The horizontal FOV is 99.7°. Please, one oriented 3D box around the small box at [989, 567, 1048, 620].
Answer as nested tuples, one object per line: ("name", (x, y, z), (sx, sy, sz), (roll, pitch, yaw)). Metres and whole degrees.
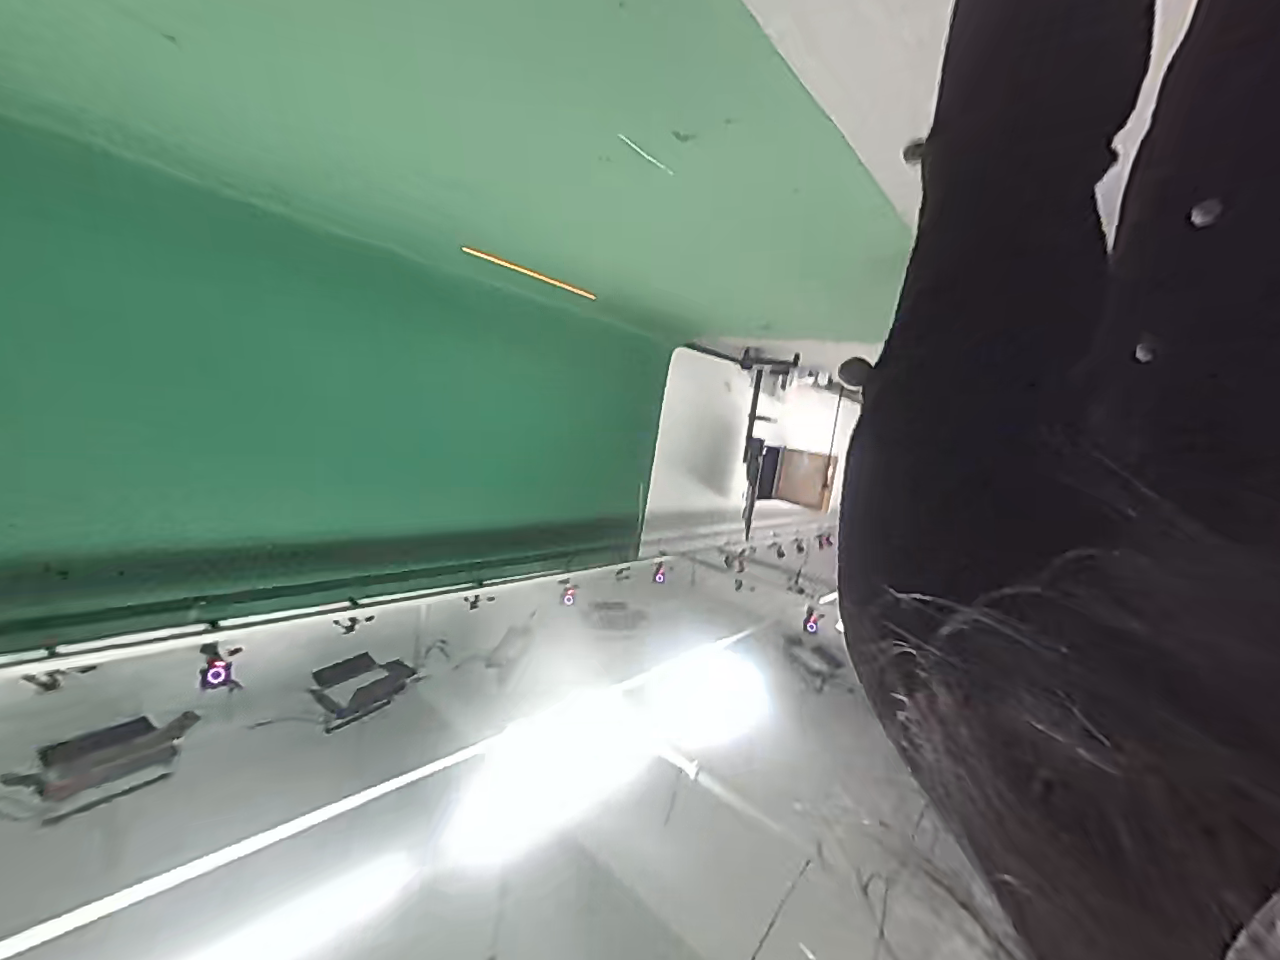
("small box", (1.627, 0.482, 2.332), (0.179, 0.176, 0.168), (12, -174, 31))
